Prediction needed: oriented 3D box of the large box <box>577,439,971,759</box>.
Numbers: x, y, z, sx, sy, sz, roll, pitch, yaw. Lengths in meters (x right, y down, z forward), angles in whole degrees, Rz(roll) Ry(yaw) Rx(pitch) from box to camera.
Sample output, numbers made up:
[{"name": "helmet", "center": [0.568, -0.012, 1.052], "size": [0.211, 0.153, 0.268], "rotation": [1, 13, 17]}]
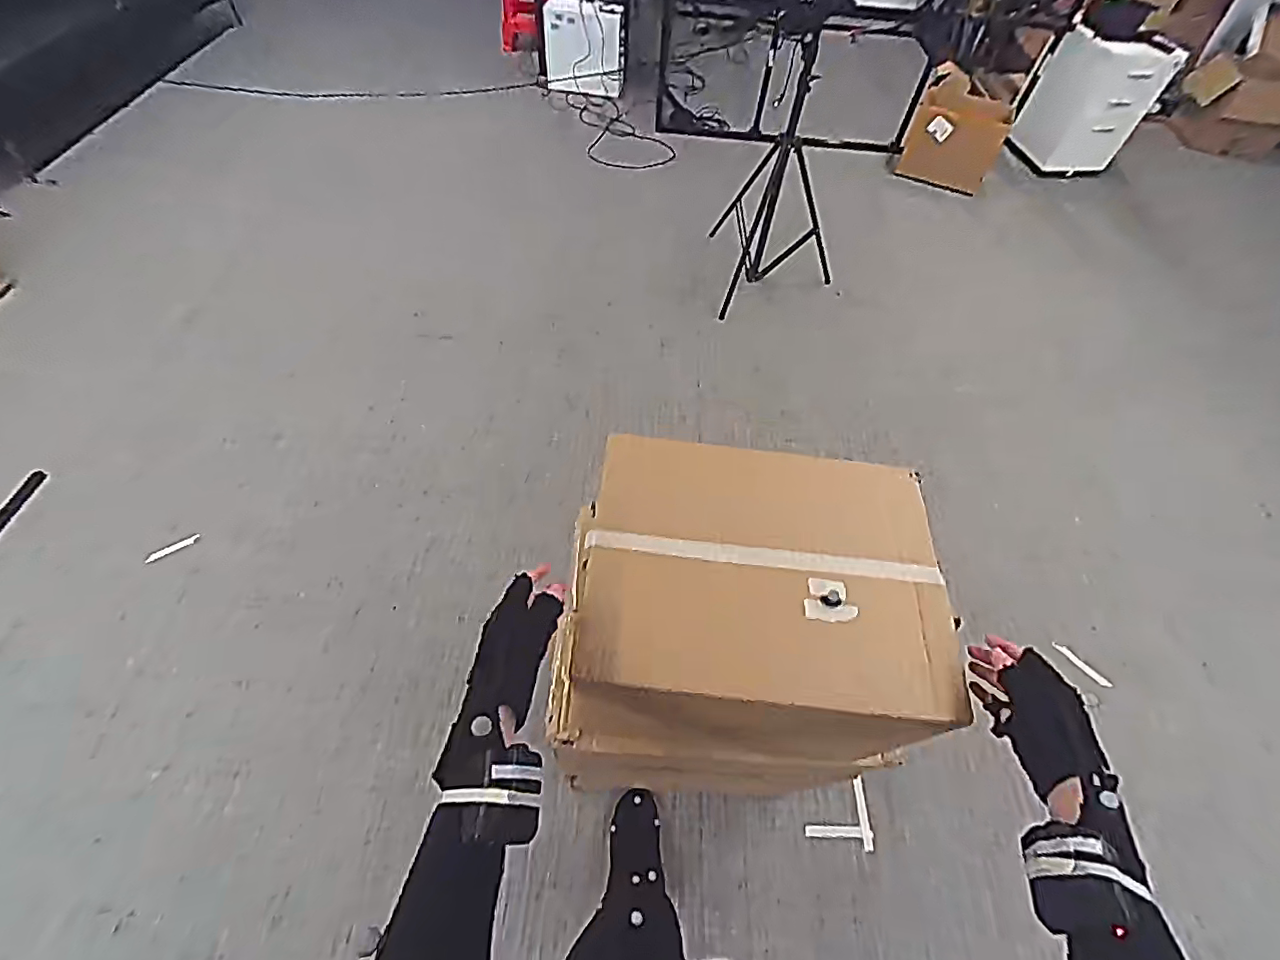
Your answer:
[{"name": "large box", "center": [0.132, 0.174, 0.736], "size": [0.408, 0.320, 0.320], "rotation": [7, 57, -1]}]
